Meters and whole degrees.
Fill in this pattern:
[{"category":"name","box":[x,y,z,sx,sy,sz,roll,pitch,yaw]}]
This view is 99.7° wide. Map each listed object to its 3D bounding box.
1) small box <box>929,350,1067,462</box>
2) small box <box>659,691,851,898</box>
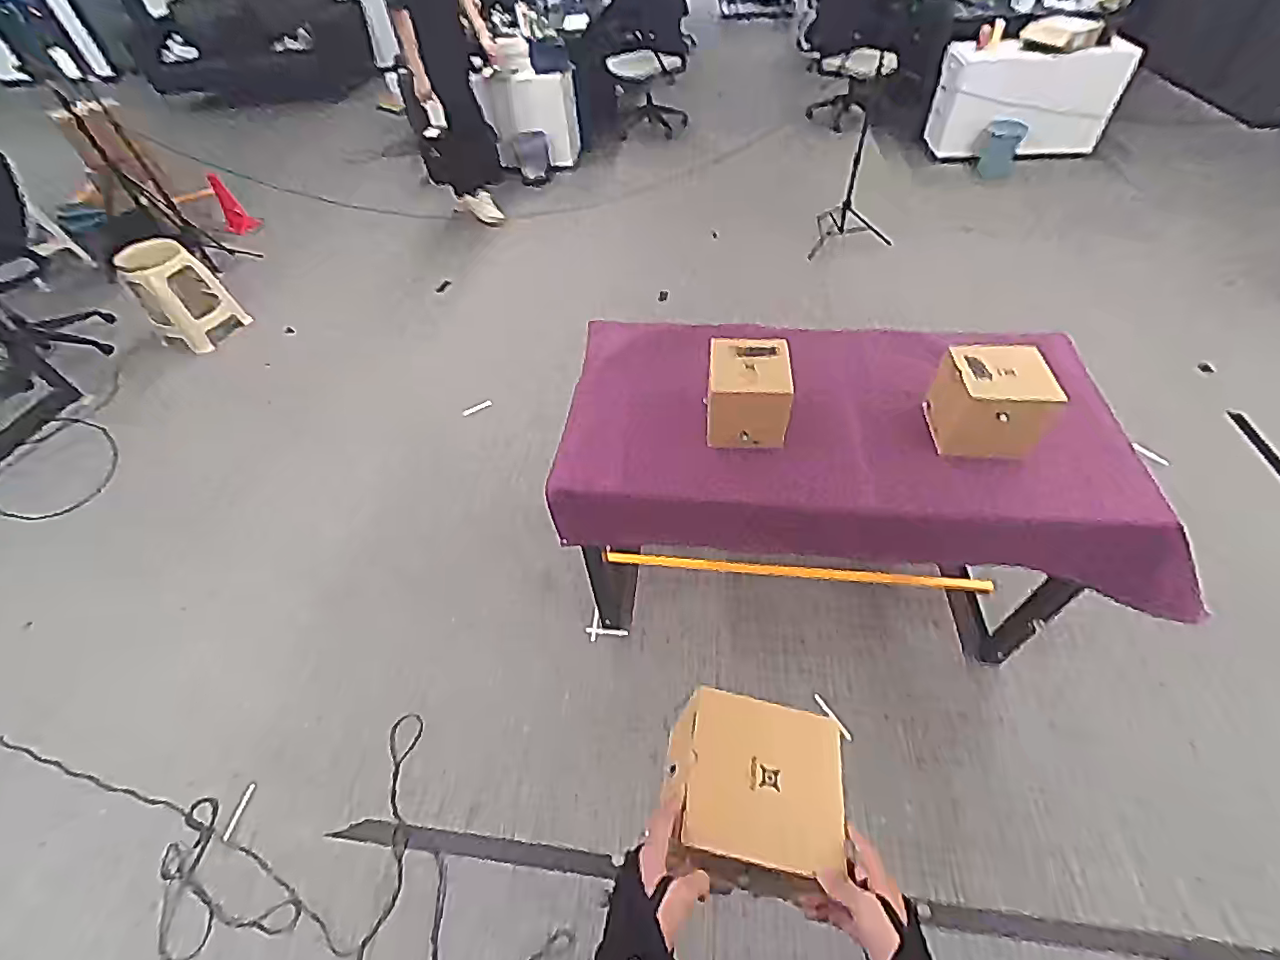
[{"category":"small box","box":[0.726,-0.153,1.127,0.179,0.176,0.168,3,50,6]},{"category":"small box","box":[0.131,0.381,0.650,0.179,0.176,0.168,12,48,3]}]
